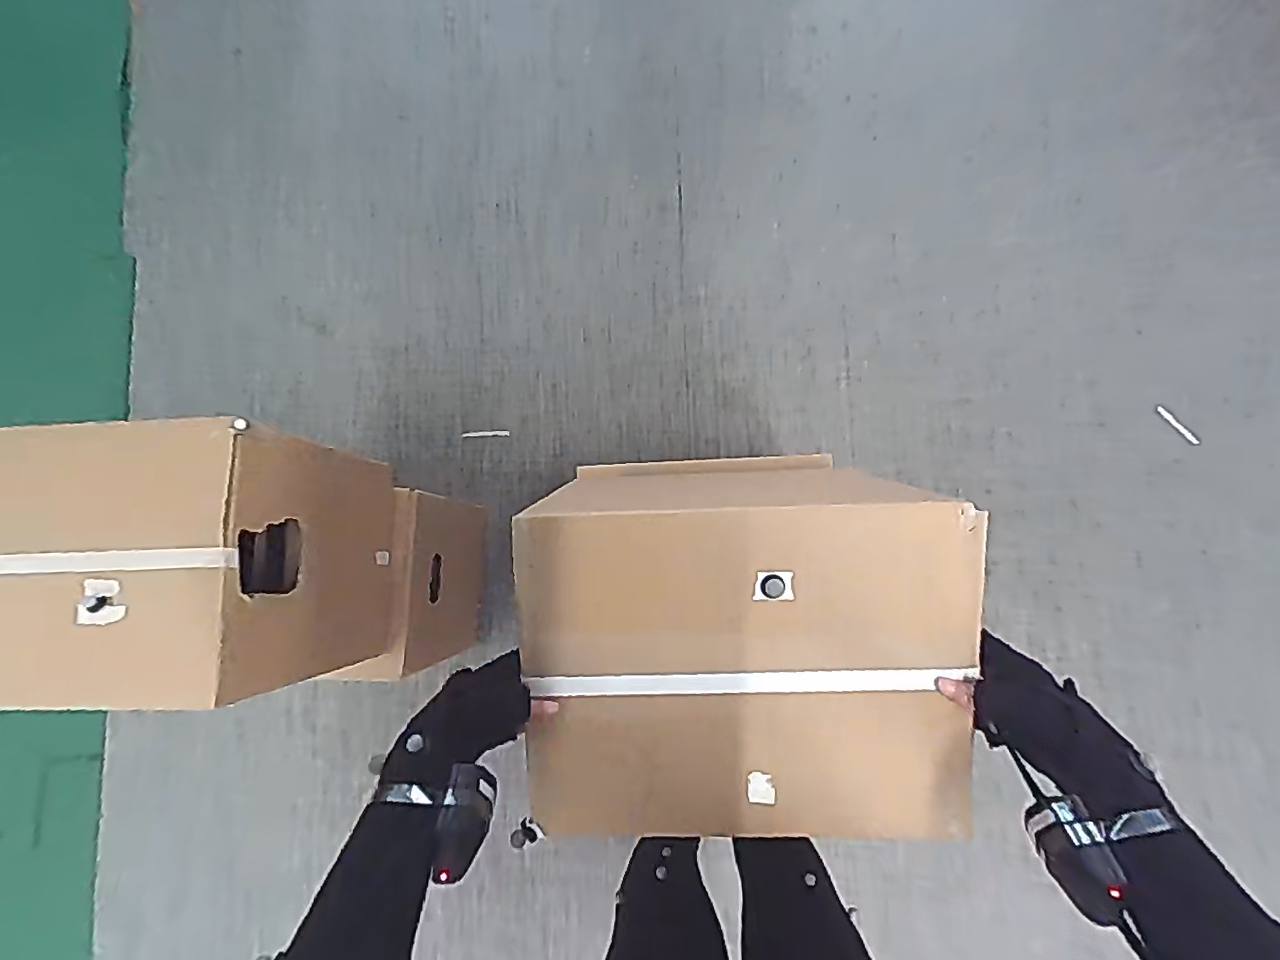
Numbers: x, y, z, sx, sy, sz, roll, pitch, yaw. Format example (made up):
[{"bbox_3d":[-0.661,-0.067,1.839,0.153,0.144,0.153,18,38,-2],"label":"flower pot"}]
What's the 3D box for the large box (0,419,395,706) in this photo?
[{"bbox_3d":[-0.615,0.114,0.747,0.408,0.320,0.320,-1,81,4],"label":"large box"}]
